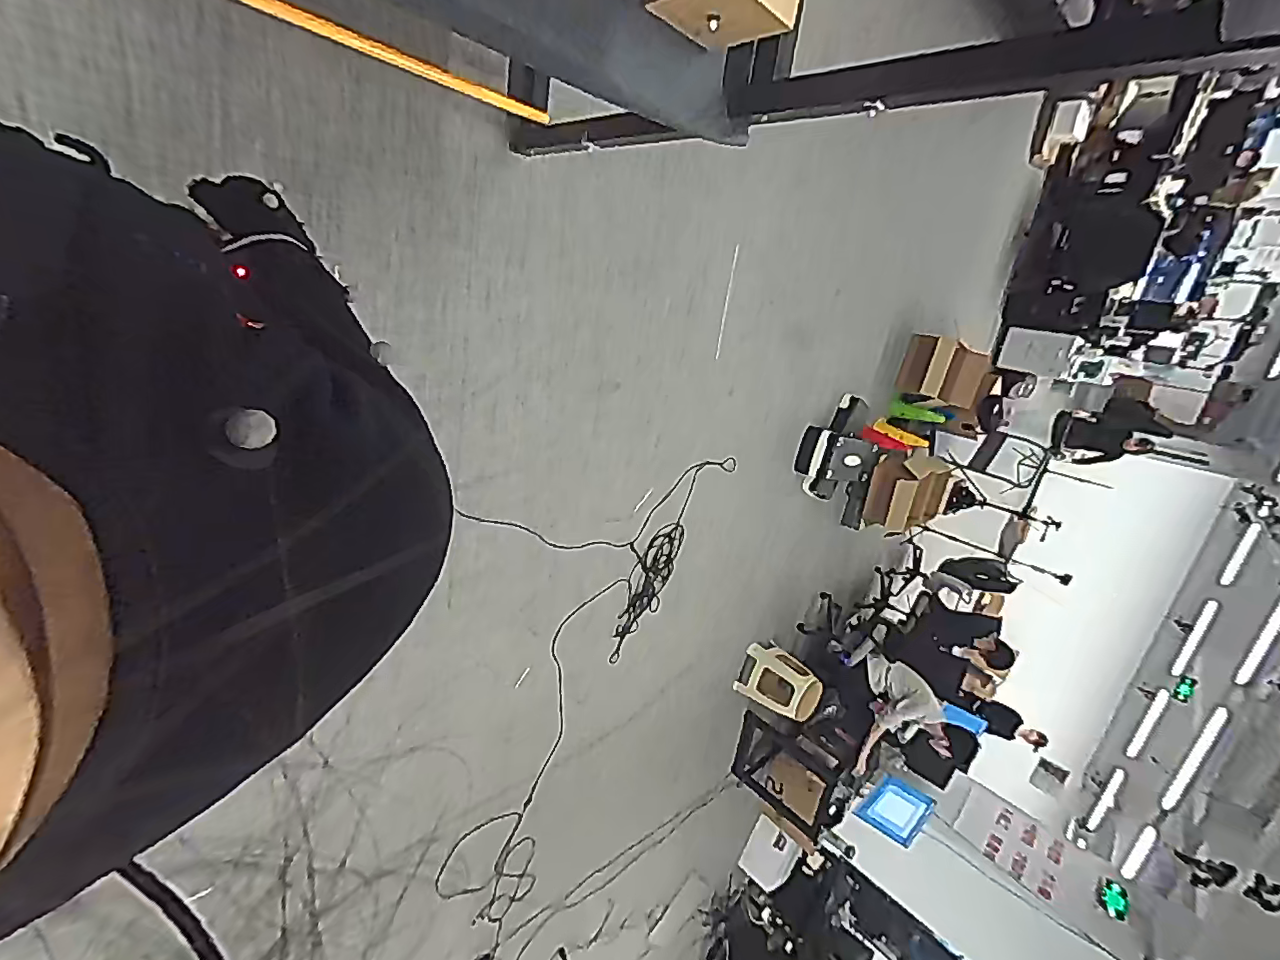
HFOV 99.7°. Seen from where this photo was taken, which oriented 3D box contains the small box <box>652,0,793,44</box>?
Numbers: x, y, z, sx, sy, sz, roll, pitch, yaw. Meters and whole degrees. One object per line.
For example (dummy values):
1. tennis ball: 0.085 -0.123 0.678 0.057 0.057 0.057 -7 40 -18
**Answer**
1. small box: 0.124 -0.788 0.798 0.168 0.176 0.179 -11 115 -44
